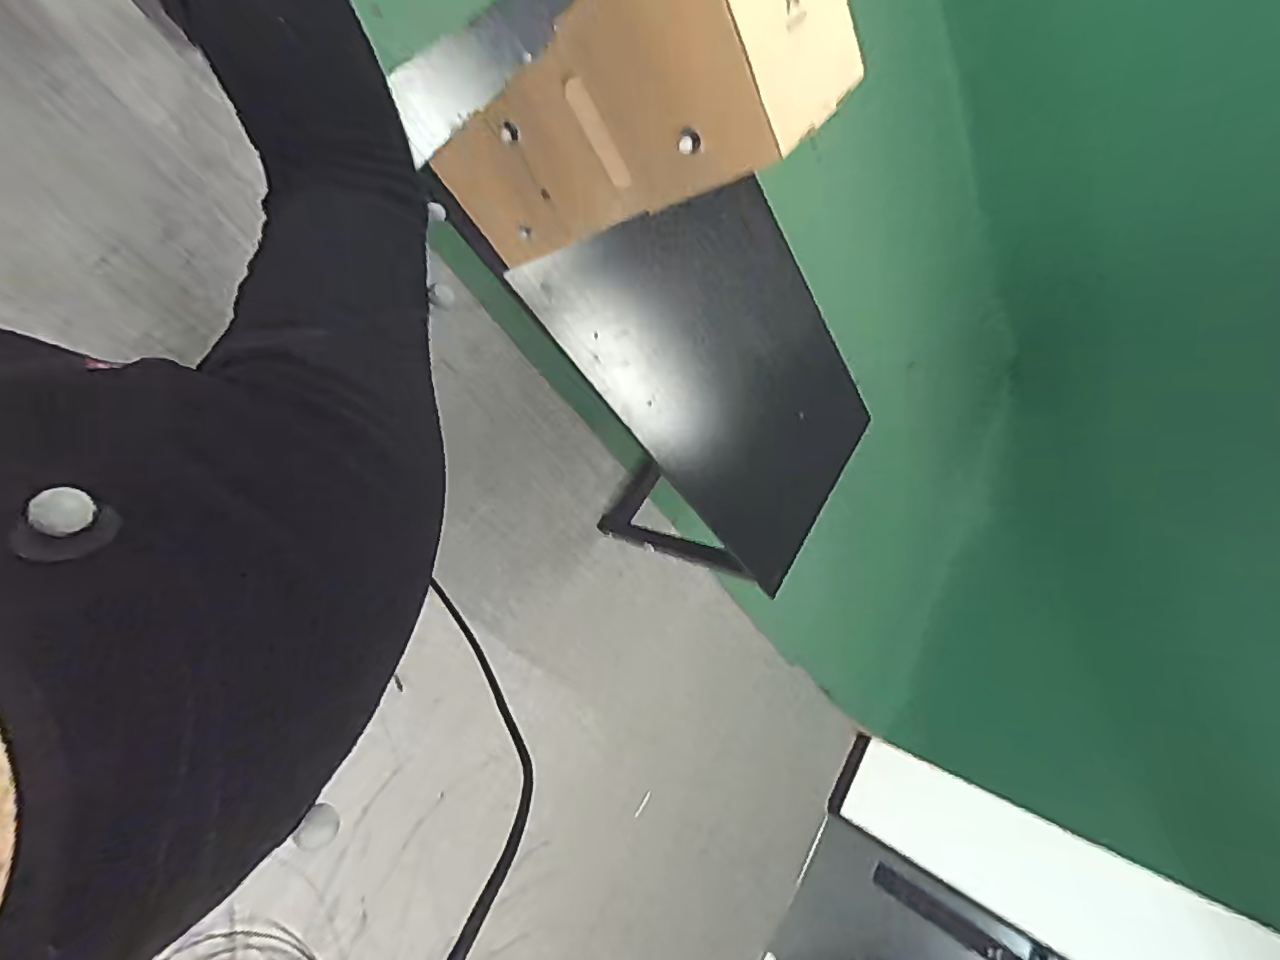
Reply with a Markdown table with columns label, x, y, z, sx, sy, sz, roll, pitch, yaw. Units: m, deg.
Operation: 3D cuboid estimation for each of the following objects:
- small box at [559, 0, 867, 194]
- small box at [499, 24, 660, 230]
| label | x | y | z | sx | sy | sz | roll | pitch | yaw |
| --- | --- | --- | --- | --- | --- | --- | --- | --- | --- |
| small box | 0.065 | -0.383 | 0.477 | 0.168 | 0.176 | 0.179 | -52 | 125 | -23 |
| small box | -0.033 | -0.410 | 0.604 | 0.179 | 0.176 | 0.168 | -51 | 126 | -22 |
